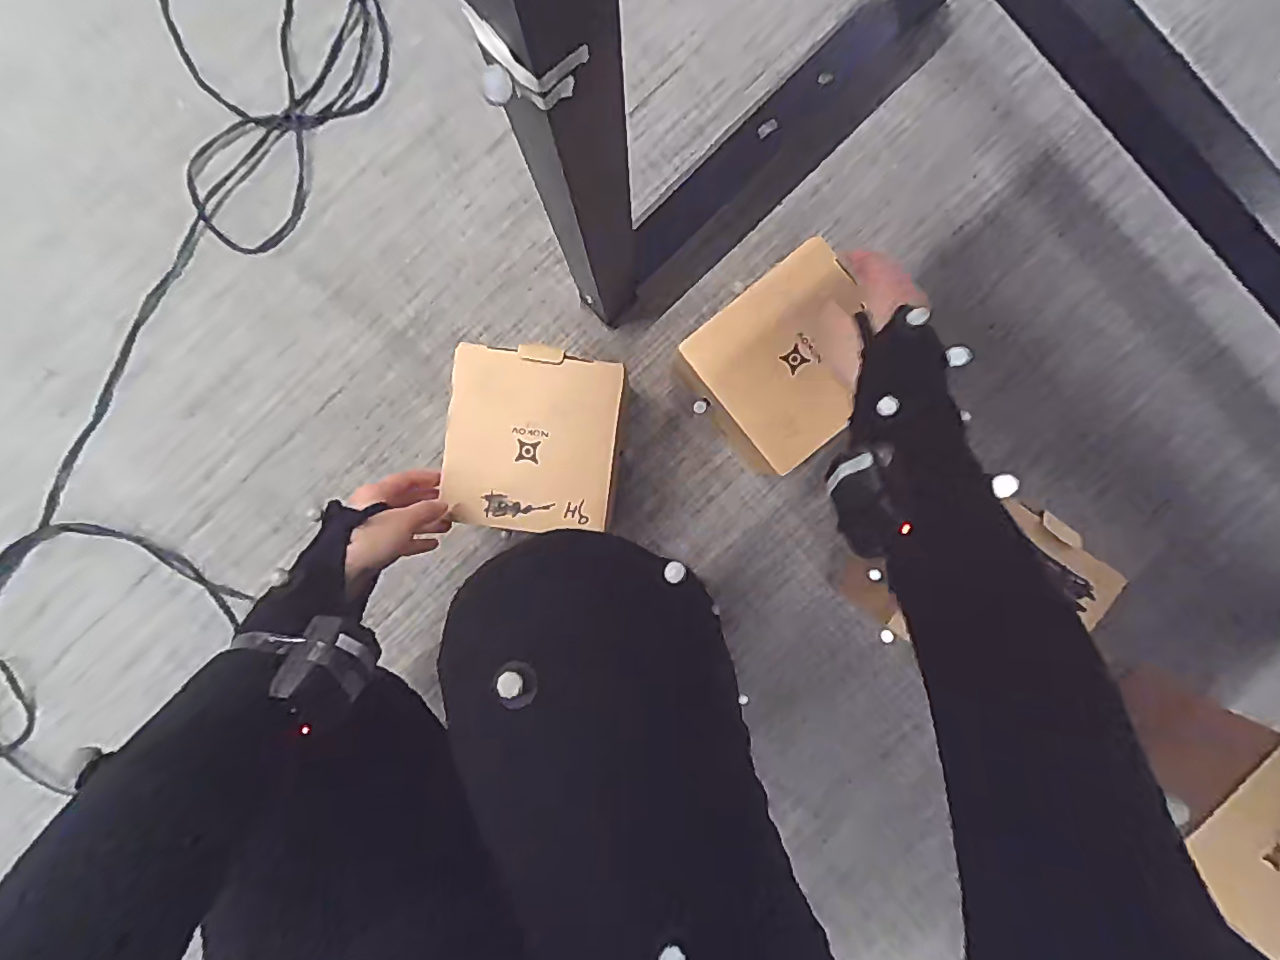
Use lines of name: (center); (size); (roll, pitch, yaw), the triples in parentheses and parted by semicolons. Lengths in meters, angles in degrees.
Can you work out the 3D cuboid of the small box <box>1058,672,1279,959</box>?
small box: (0.632, 0.359, 0.613); (0.168, 0.176, 0.179); (42, 92, -2)
